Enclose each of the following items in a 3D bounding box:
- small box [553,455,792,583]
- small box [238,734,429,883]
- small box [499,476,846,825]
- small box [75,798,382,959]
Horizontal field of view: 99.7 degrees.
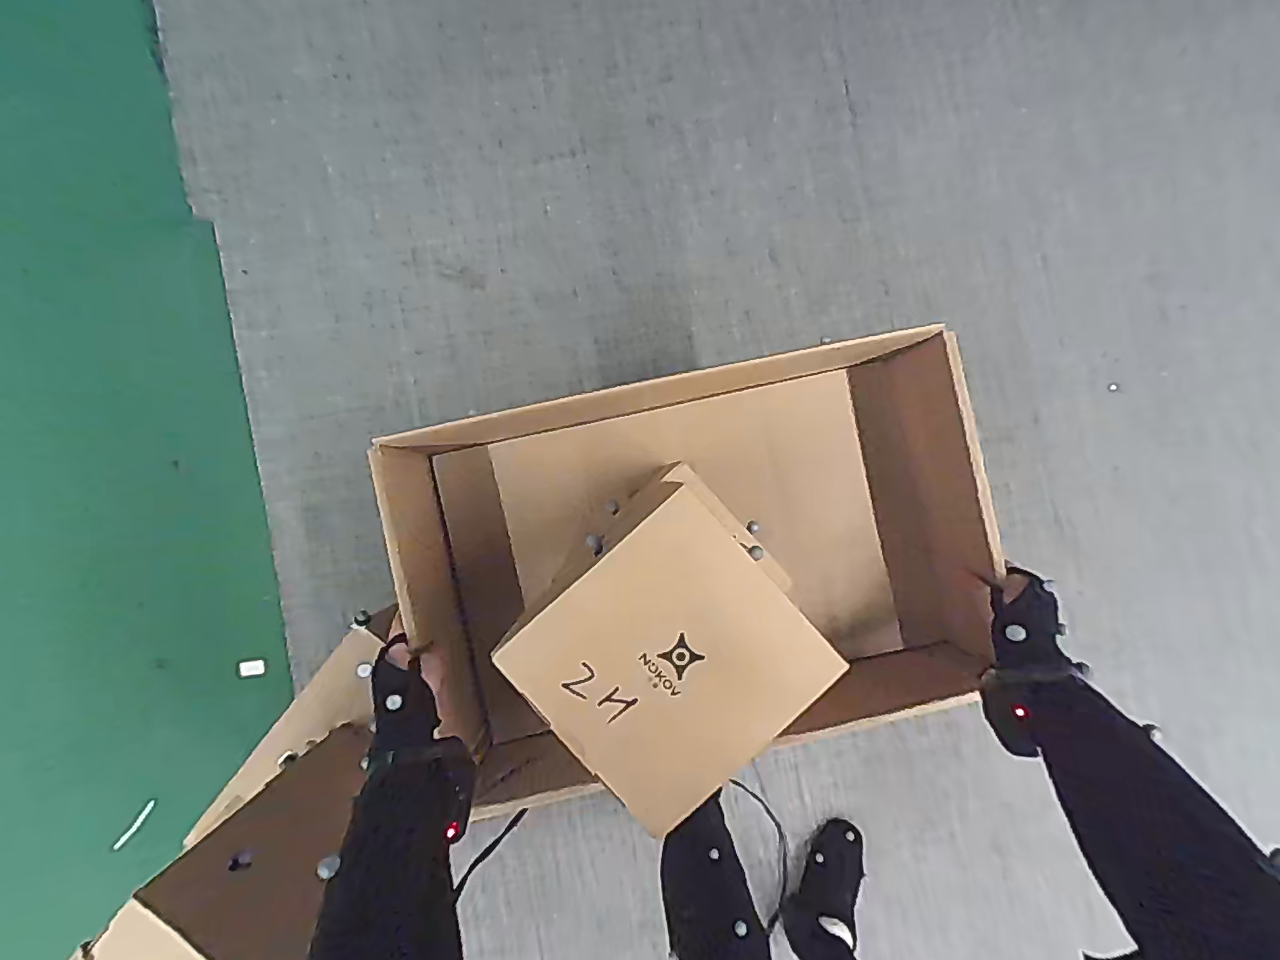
[{"bbox_3d":[0.032,0.092,0.601,0.179,0.176,0.168,-43,91,-1],"label":"small box"},{"bbox_3d":[-0.409,0.456,0.686,0.179,0.176,0.168,42,88,0],"label":"small box"},{"bbox_3d":[0.020,0.112,0.435,0.179,0.176,0.168,-42,90,0],"label":"small box"},{"bbox_3d":[-0.398,0.451,0.523,0.179,0.176,0.168,39,89,0],"label":"small box"}]
